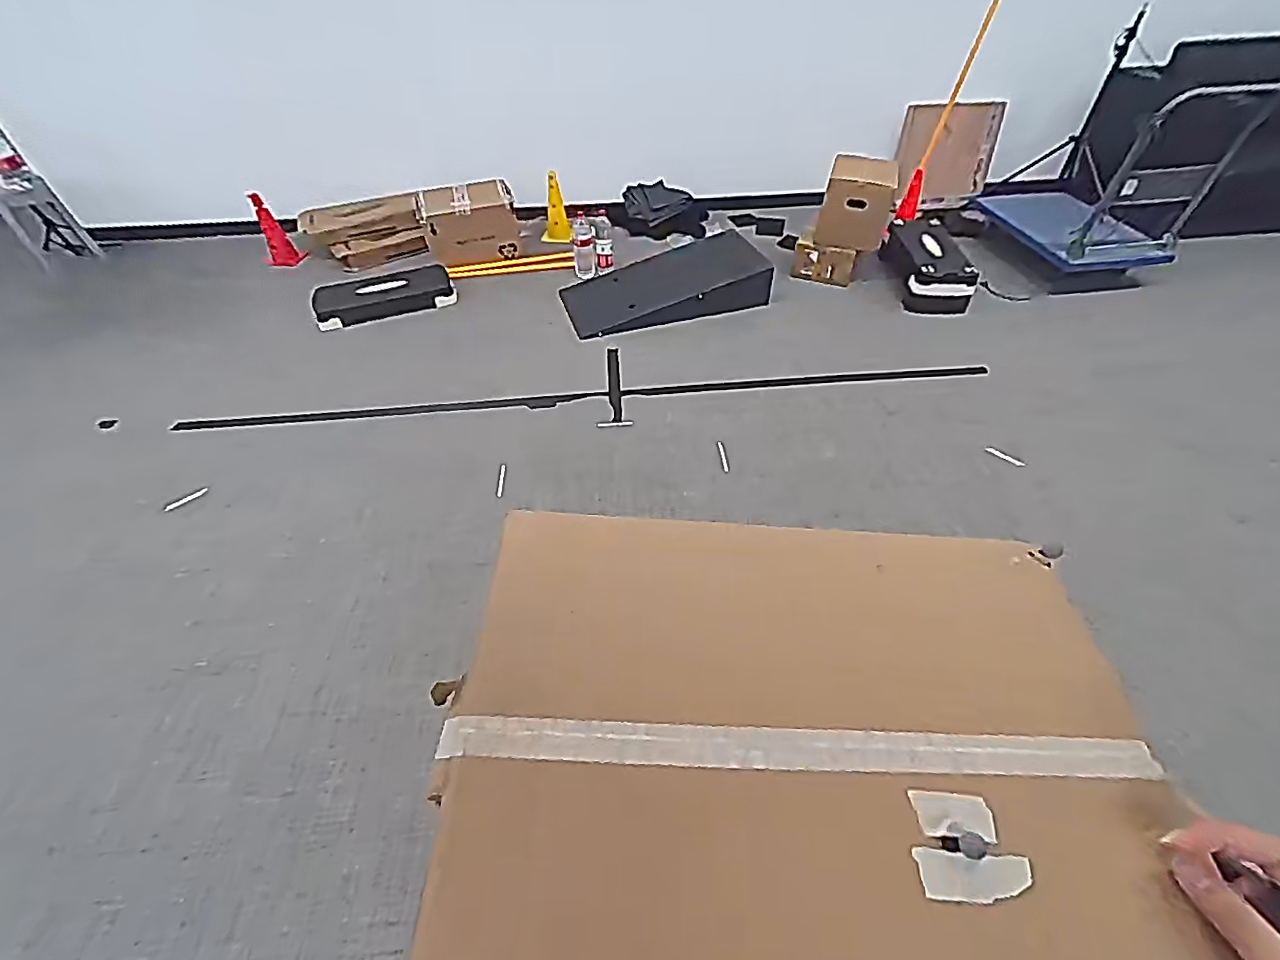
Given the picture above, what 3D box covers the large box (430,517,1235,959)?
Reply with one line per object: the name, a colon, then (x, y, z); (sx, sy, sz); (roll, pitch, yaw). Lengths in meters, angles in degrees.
large box: (0.086, 0.251, 0.434); (0.408, 0.320, 0.320); (4, 50, -4)
